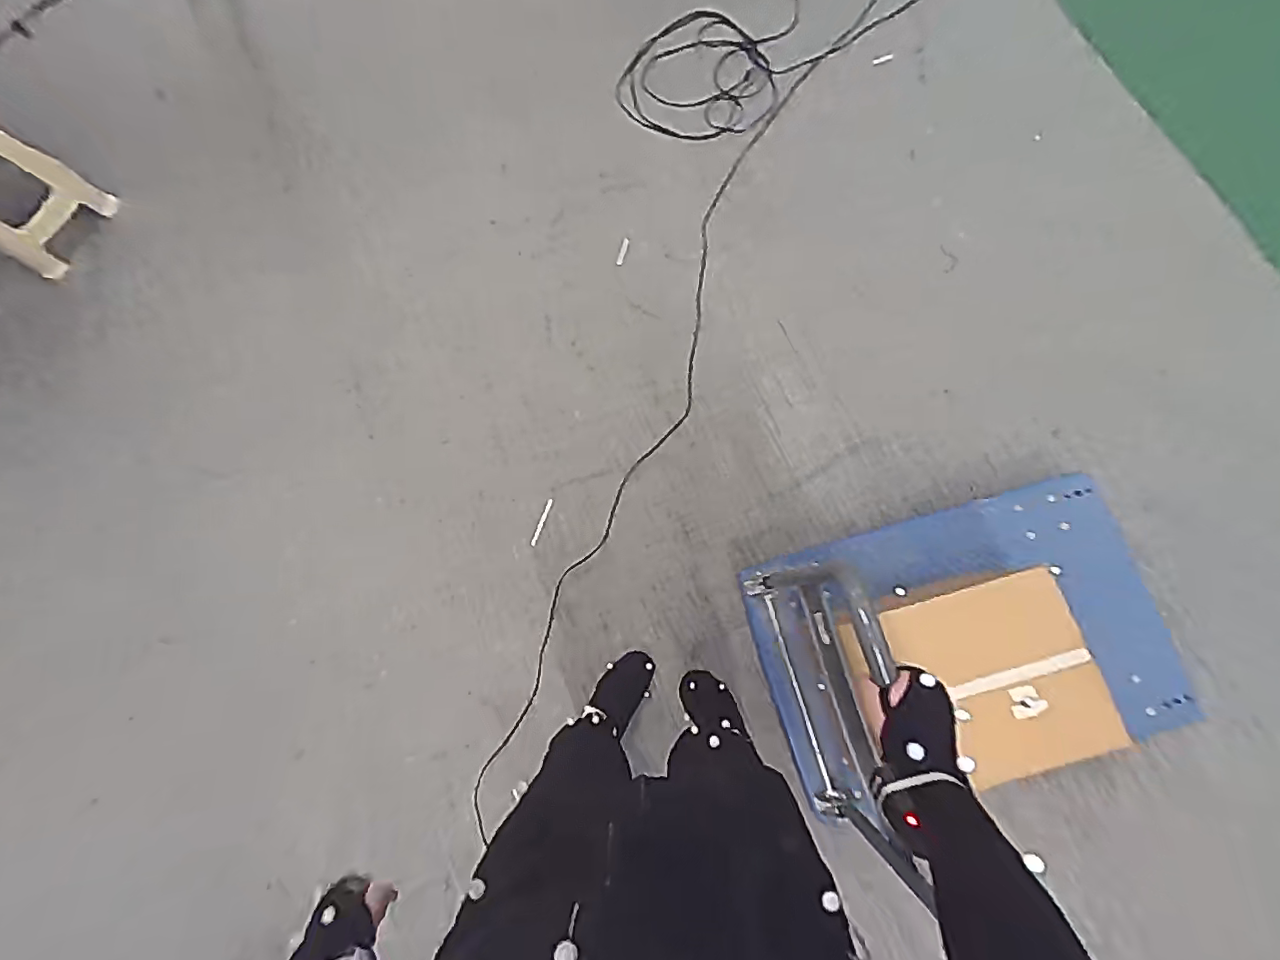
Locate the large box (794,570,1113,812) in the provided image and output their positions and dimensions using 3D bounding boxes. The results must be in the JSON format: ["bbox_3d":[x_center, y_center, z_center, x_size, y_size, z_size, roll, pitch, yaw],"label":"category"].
[{"bbox_3d":[0.579,0.398,1.092,0.408,0.320,0.320,-17,77,0],"label":"large box"}]
